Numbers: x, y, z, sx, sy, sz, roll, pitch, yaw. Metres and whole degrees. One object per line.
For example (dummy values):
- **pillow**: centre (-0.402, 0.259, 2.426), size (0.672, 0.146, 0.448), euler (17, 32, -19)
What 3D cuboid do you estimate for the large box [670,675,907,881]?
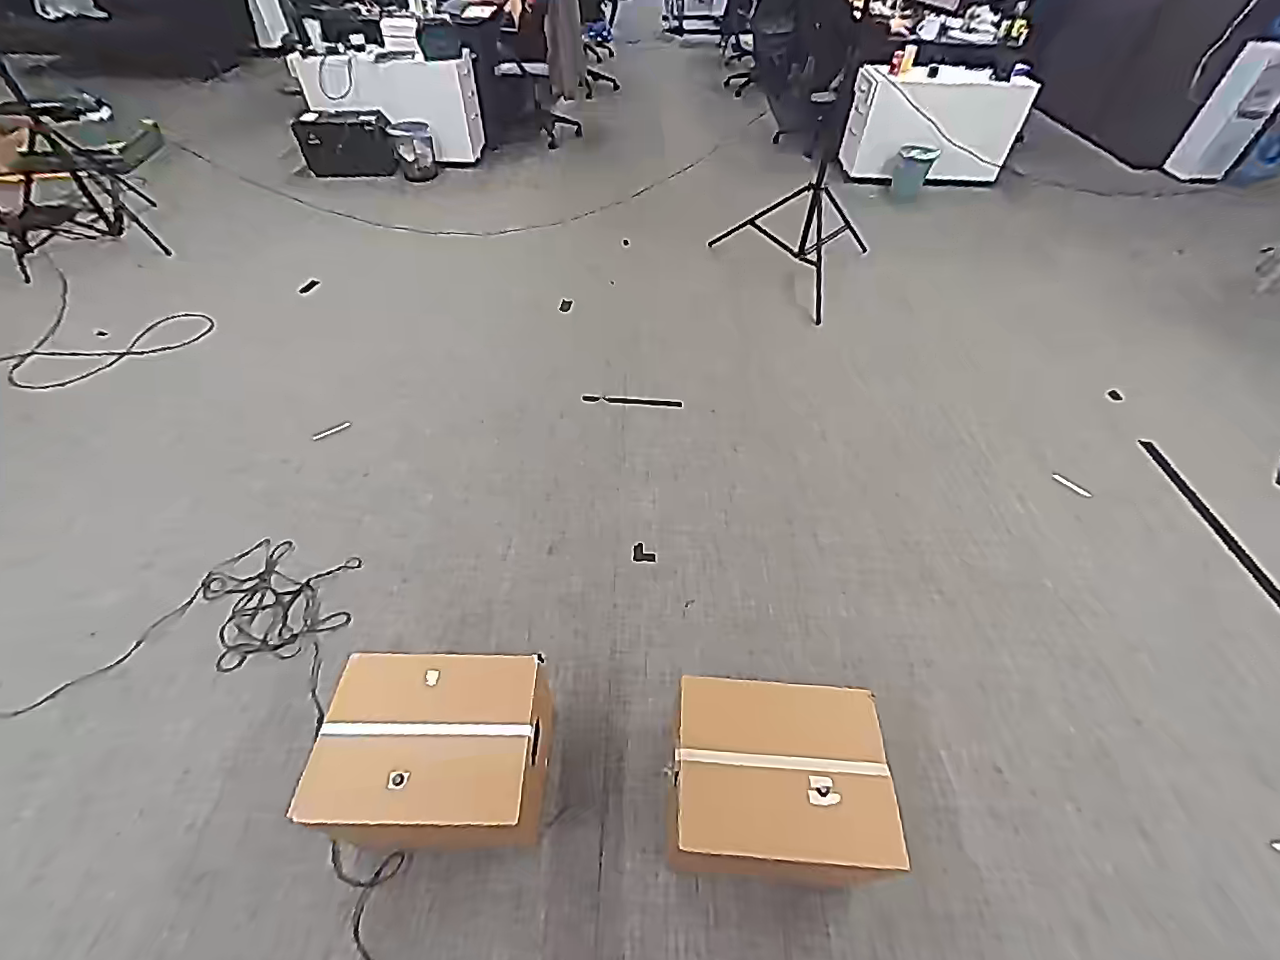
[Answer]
- **large box**: centre (0.275, 0.642, 1.160), size (0.408, 0.320, 0.320), euler (5, 49, 1)
